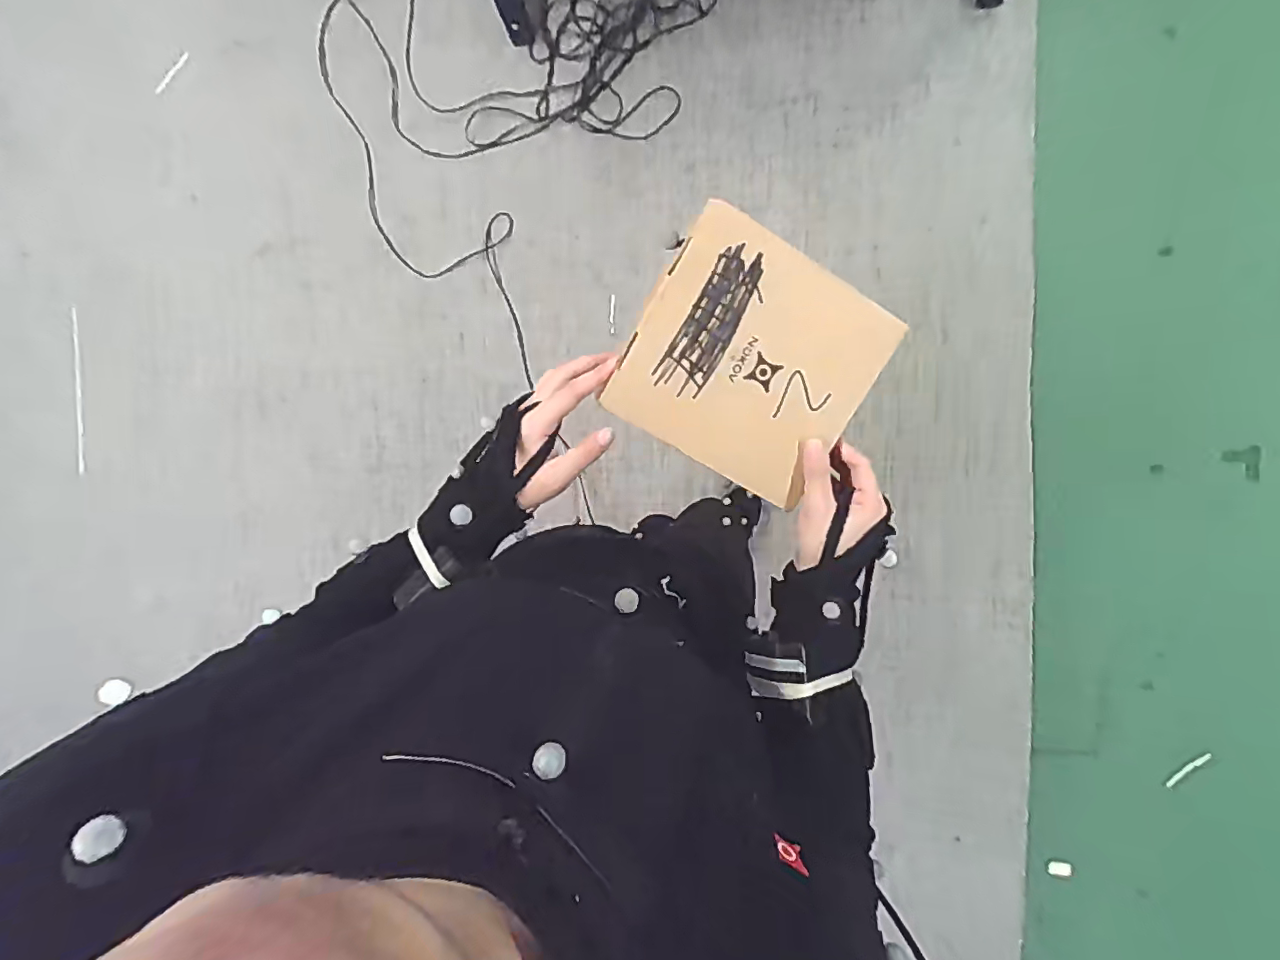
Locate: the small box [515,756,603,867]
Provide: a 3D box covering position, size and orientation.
[{"bbox_3d":[-0.191,0.793,1.310,0.179,0.176,0.168,0,91,5],"label":"small box"}]
